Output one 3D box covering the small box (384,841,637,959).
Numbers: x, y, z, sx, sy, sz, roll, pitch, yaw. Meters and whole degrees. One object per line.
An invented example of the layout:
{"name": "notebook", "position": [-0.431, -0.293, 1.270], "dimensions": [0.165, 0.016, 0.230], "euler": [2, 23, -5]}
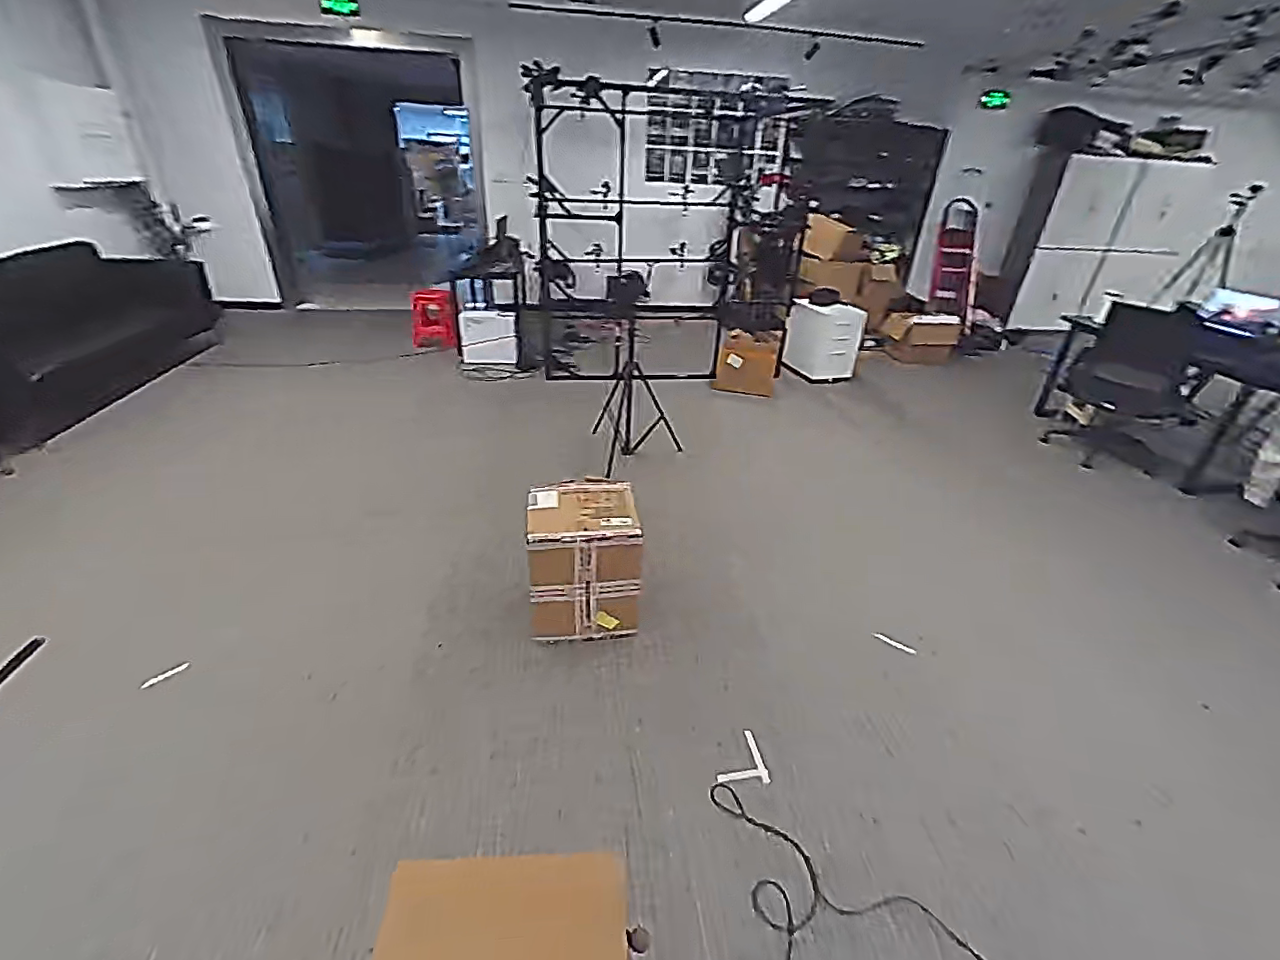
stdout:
{"name": "small box", "position": [-0.086, 0.385, 0.384], "dimensions": [0.168, 0.176, 0.179], "euler": [0, 41, -3]}
